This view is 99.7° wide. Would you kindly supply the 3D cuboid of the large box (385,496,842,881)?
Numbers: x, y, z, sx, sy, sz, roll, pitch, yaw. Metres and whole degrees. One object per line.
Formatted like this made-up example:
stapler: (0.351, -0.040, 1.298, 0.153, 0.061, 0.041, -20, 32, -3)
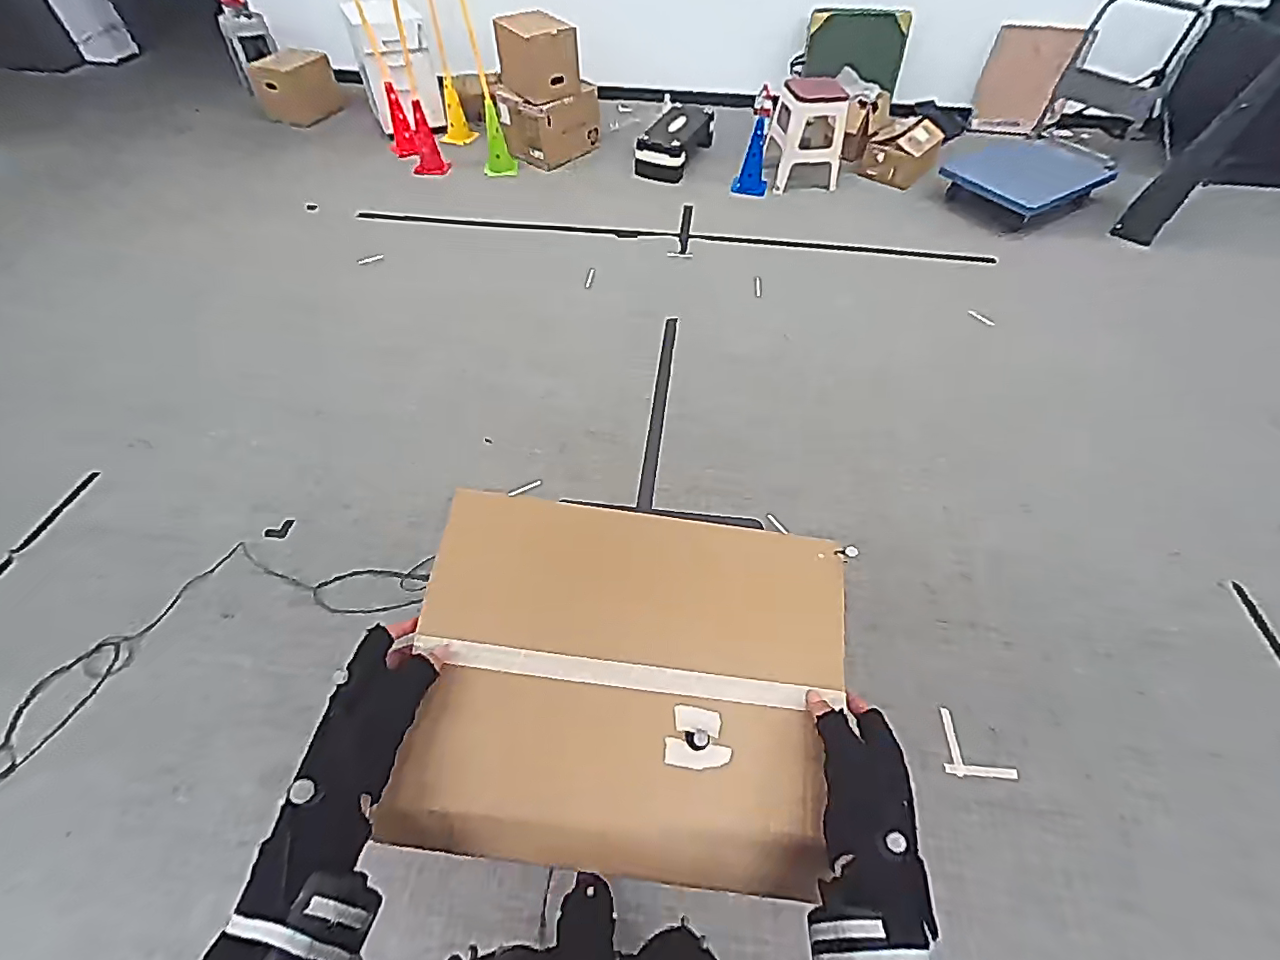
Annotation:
large box: (-0.017, 0.234, 0.654, 0.408, 0.320, 0.320, 8, 69, -1)
